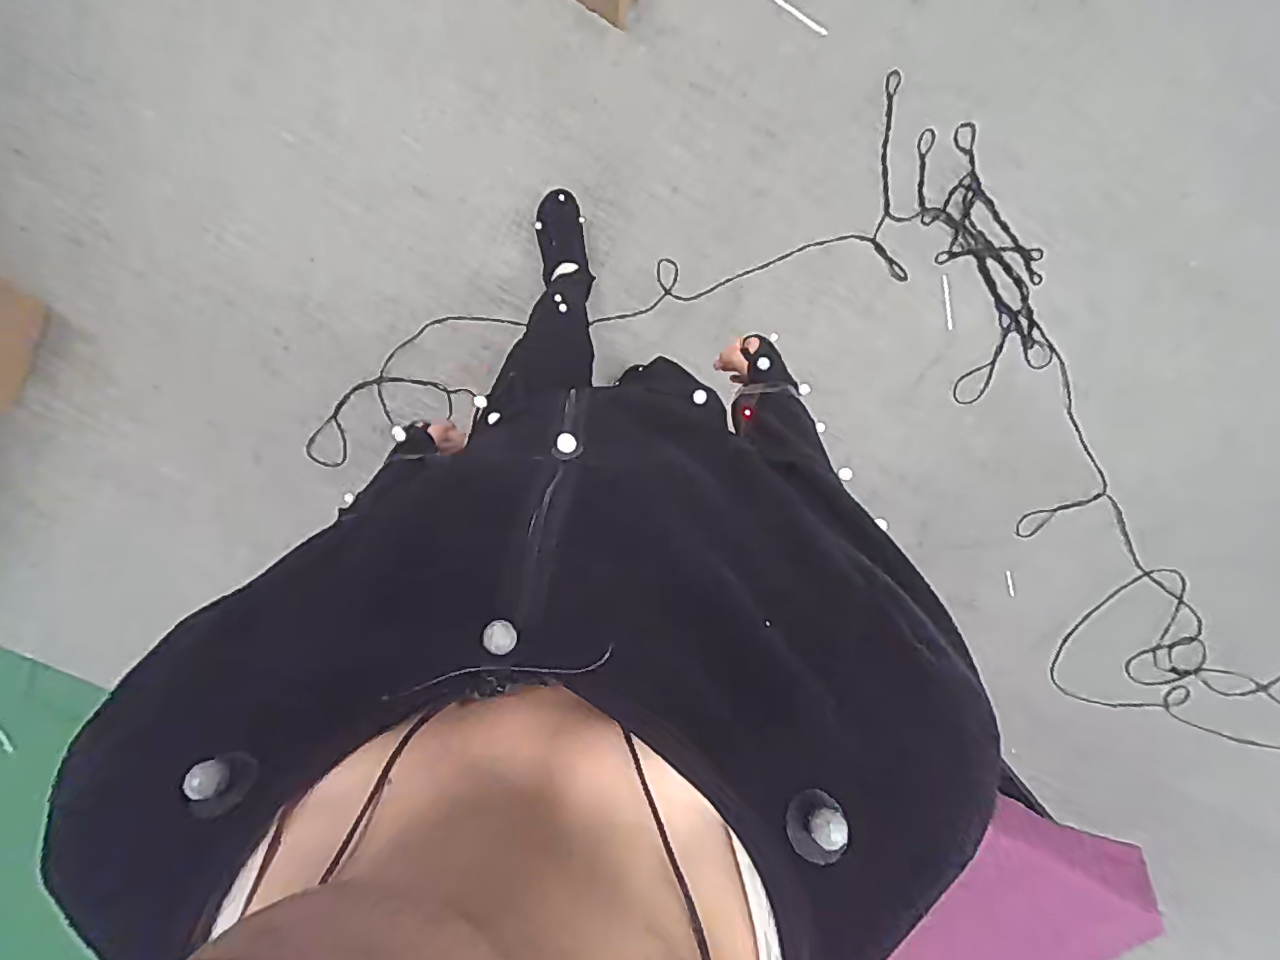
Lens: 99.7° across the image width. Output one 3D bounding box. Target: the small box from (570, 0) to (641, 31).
[{"bbox_3d":[-0.073,-1.089,1.116,0.179,0.176,0.168,28,104,-9],"label":"small box"}]
